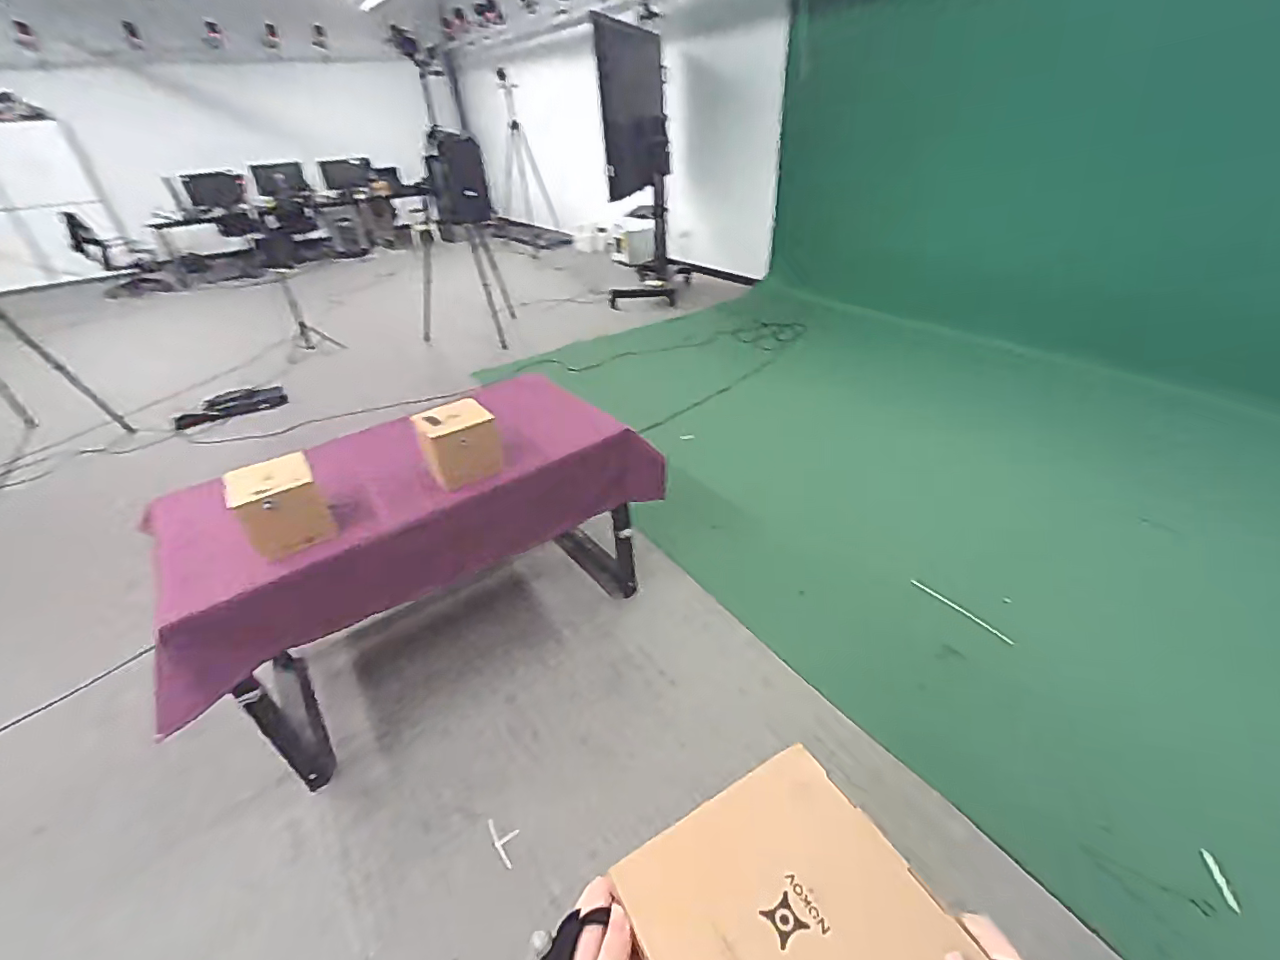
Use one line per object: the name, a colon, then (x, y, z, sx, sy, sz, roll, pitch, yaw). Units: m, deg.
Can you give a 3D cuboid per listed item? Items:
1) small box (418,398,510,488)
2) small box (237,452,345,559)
small box: (-0.485, -0.102, 1.499, 0.179, 0.176, 0.168, -24, 39, -27)
small box: (-0.839, 0.061, 1.303, 0.168, 0.176, 0.179, -25, 38, -26)
